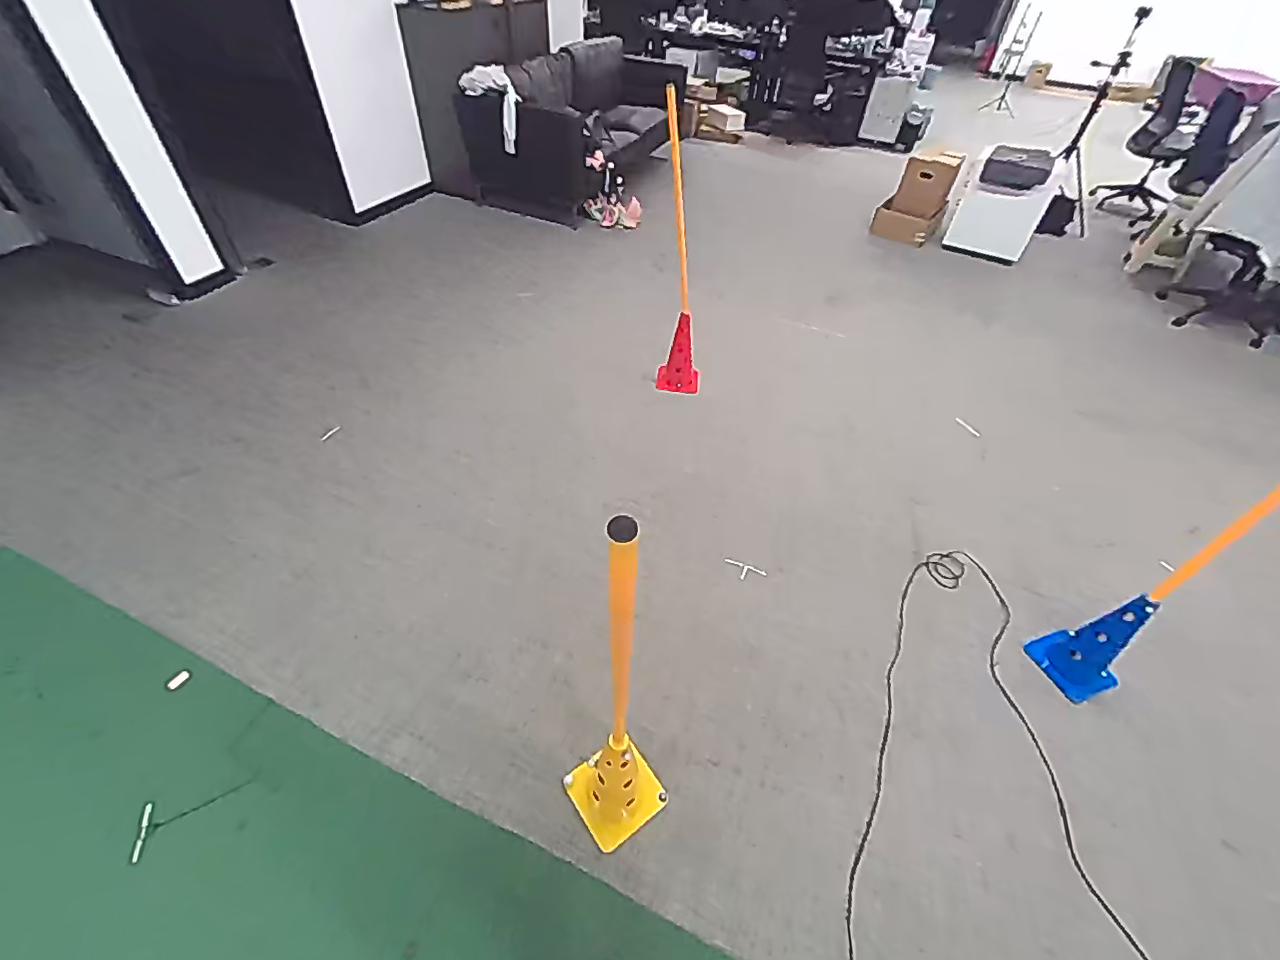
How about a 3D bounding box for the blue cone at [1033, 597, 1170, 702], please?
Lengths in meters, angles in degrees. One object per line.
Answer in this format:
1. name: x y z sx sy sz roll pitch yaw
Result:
1. blue cone: 1.340 0.448 1.540 0.193 0.380 0.192 -12 46 -19
